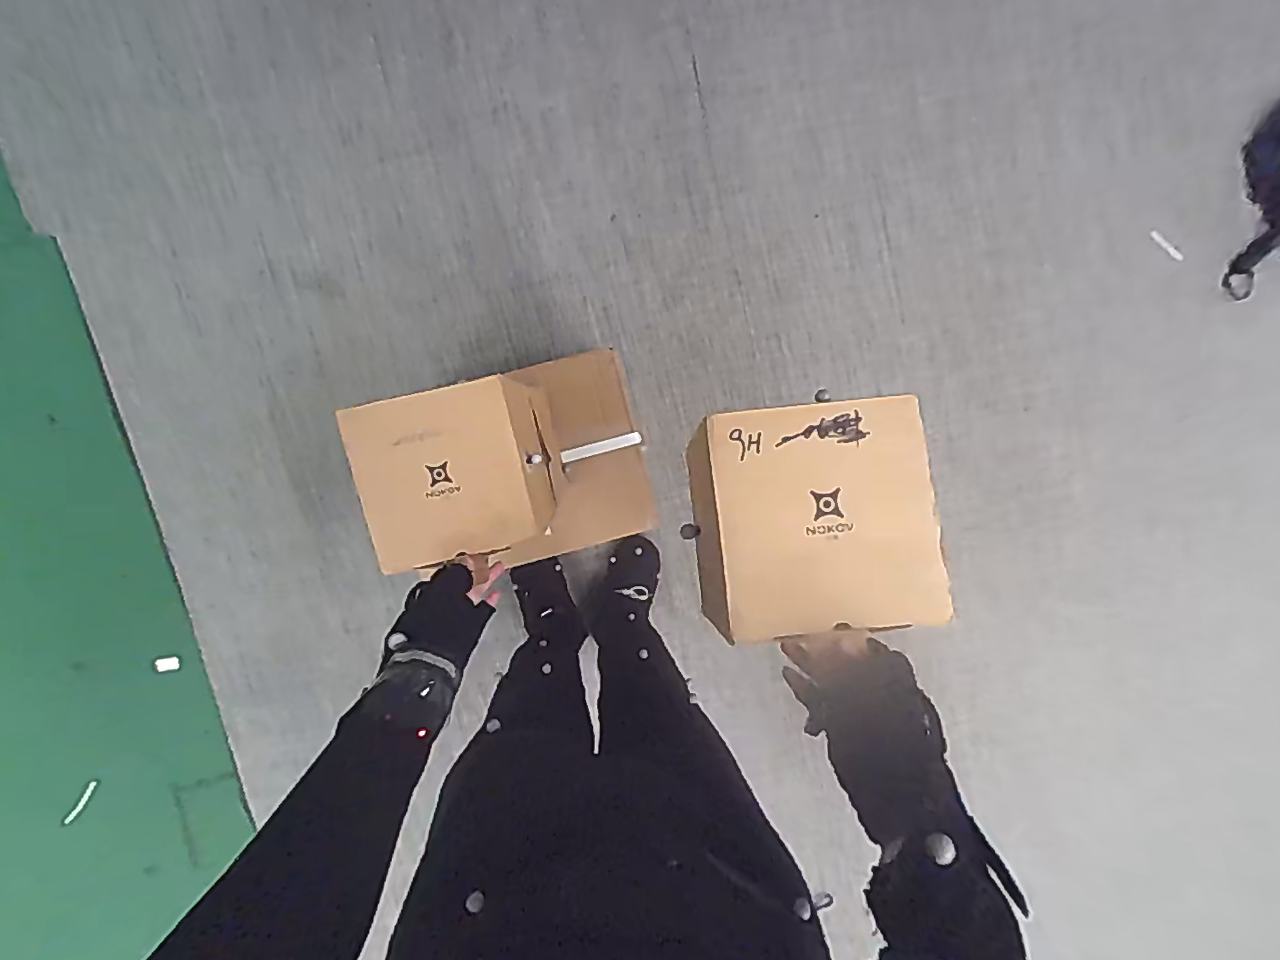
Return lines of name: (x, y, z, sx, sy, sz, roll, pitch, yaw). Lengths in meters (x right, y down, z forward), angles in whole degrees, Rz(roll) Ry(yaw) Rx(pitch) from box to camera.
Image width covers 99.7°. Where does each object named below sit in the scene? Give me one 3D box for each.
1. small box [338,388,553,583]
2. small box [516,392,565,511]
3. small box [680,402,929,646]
small box: (-0.207, -0.004, 0.630, 0.168, 0.176, 0.179, -14, 98, -1)
small box: (-0.213, -0.029, 0.792, 0.179, 0.176, 0.168, -16, 100, 0)
small box: (0.130, 0.038, 0.492, 0.168, 0.176, 0.179, -6, 85, 0)
